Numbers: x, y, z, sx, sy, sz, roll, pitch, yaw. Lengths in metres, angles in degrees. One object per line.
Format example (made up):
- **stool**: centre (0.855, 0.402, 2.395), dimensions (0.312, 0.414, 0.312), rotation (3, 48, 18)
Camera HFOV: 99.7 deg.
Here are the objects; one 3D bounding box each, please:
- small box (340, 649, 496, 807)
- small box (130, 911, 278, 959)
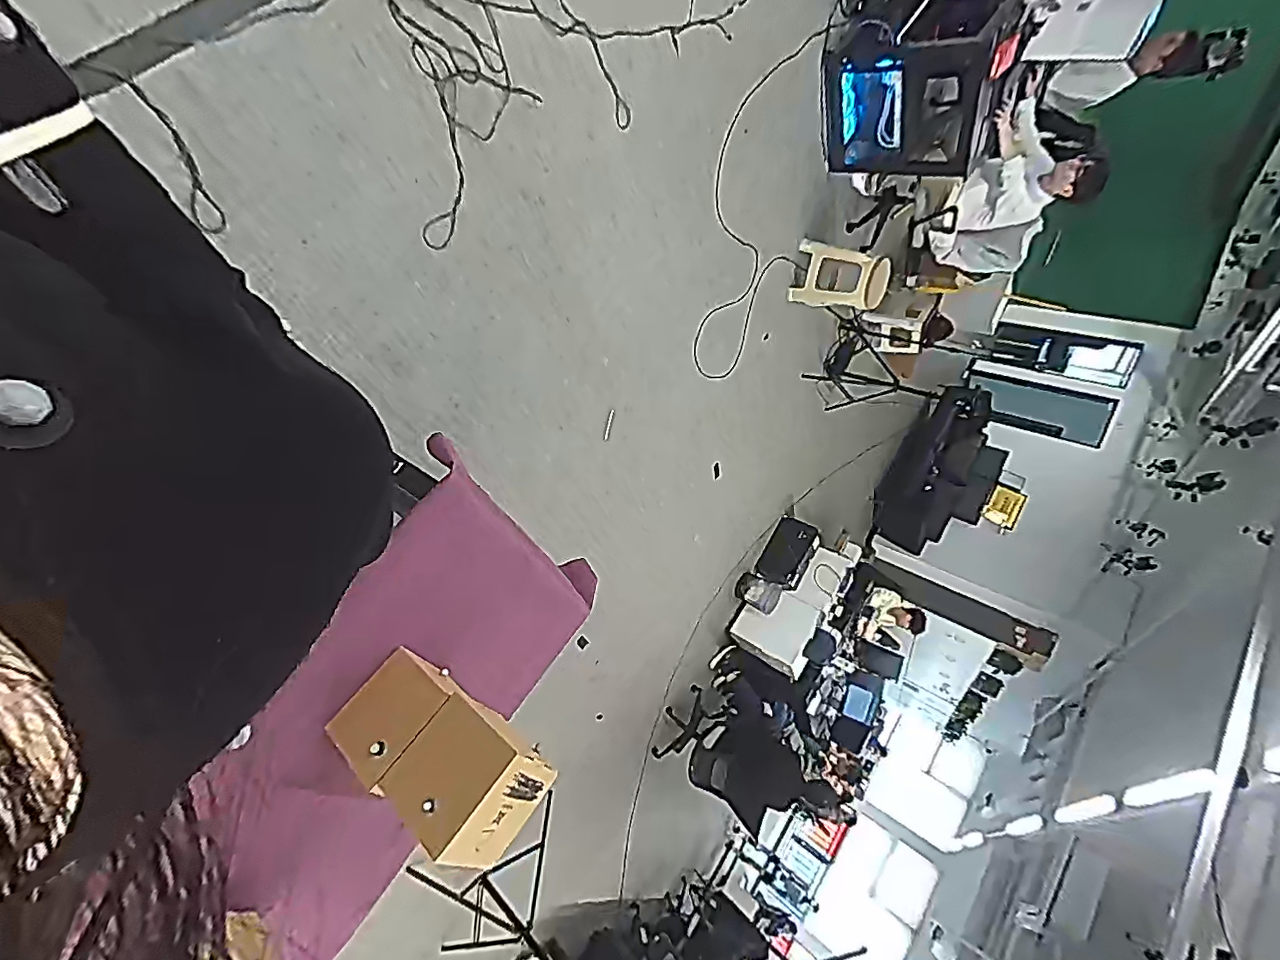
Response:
- **small box**: centre (-0.404, 0.442, 0.975), dimensions (0.179, 0.176, 0.168), rotation (-50, 144, -22)
- **small box**: centre (-0.681, 0.799, 0.822), dimensions (0.168, 0.176, 0.179), rotation (-51, 143, -22)
